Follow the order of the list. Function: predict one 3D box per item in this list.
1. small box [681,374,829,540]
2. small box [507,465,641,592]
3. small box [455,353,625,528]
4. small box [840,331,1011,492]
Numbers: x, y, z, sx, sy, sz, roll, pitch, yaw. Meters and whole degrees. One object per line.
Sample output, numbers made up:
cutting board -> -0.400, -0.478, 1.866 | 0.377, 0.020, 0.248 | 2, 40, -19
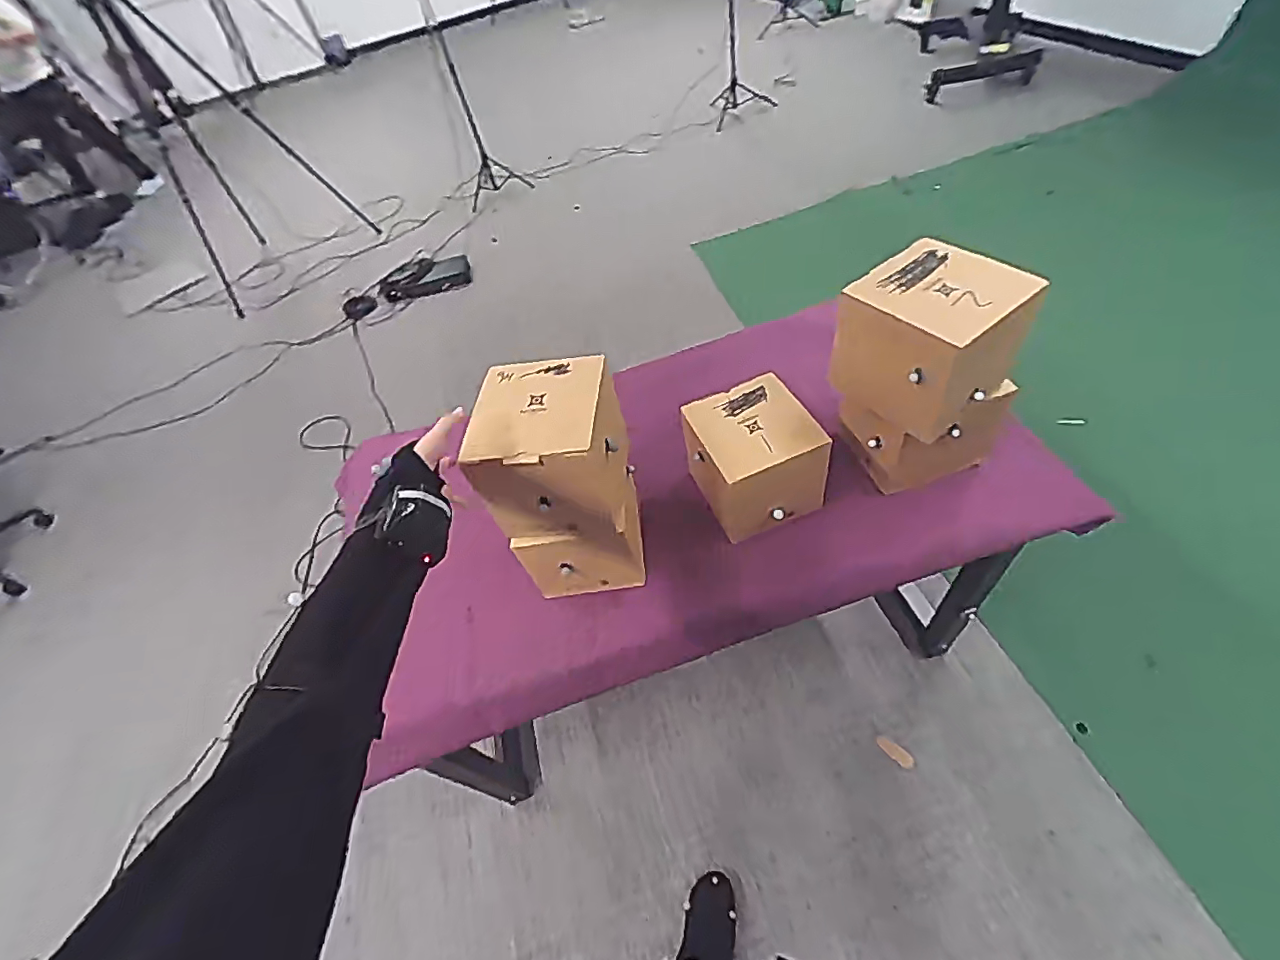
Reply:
small box -> 0.178, -0.035, 0.872 | 0.168, 0.176, 0.179 | -22, 51, -5
small box -> -0.095, 0.064, 0.853 | 0.168, 0.176, 0.179 | -9, 50, 5
small box -> -0.119, -0.044, 0.732 | 0.168, 0.176, 0.179 | -3, 52, 10
small box -> 0.440, -0.105, 0.872 | 0.179, 0.176, 0.168 | -17, 50, -2
